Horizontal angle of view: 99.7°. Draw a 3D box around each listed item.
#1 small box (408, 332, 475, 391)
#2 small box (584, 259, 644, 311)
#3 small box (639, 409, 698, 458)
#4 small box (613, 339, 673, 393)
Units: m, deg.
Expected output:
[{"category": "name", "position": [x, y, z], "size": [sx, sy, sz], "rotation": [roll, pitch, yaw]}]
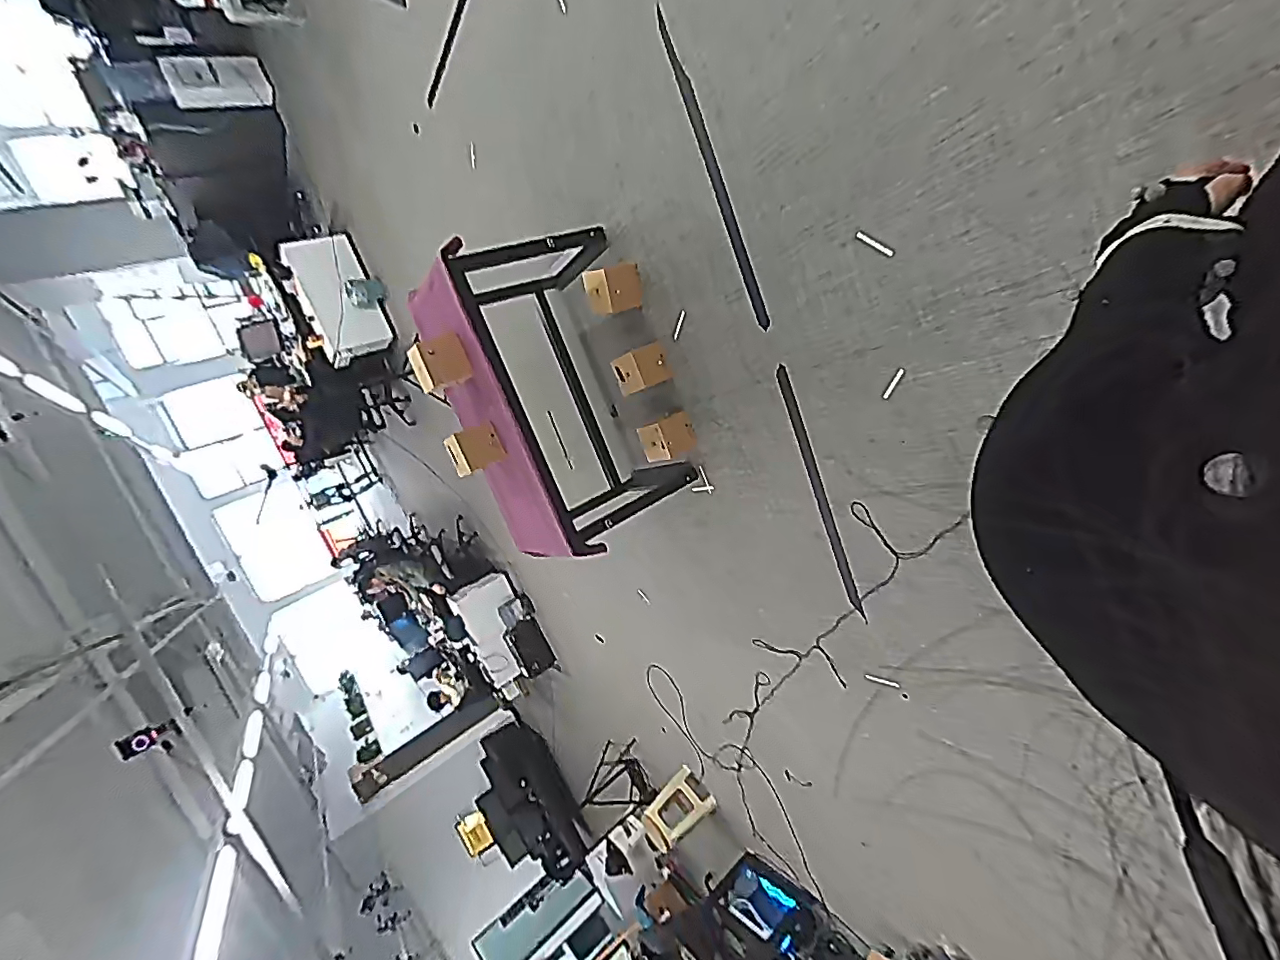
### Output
[{"category": "small box", "position": [-0.779, -0.470, 2.124], "size": [0.168, 0.176, 0.179], "rotation": [-3, 112, 58]}, {"category": "small box", "position": [-0.108, -0.824, 2.279], "size": [0.168, 0.176, 0.179], "rotation": [18, 129, 49]}, {"category": "small box", "position": [0.128, -0.207, 2.416], "size": [0.179, 0.176, 0.168], "rotation": [-4, 110, 58]}, {"category": "small box", "position": [0.015, -0.497, 2.353], "size": [0.179, 0.176, 0.168], "rotation": [-8, 107, 57]}]
